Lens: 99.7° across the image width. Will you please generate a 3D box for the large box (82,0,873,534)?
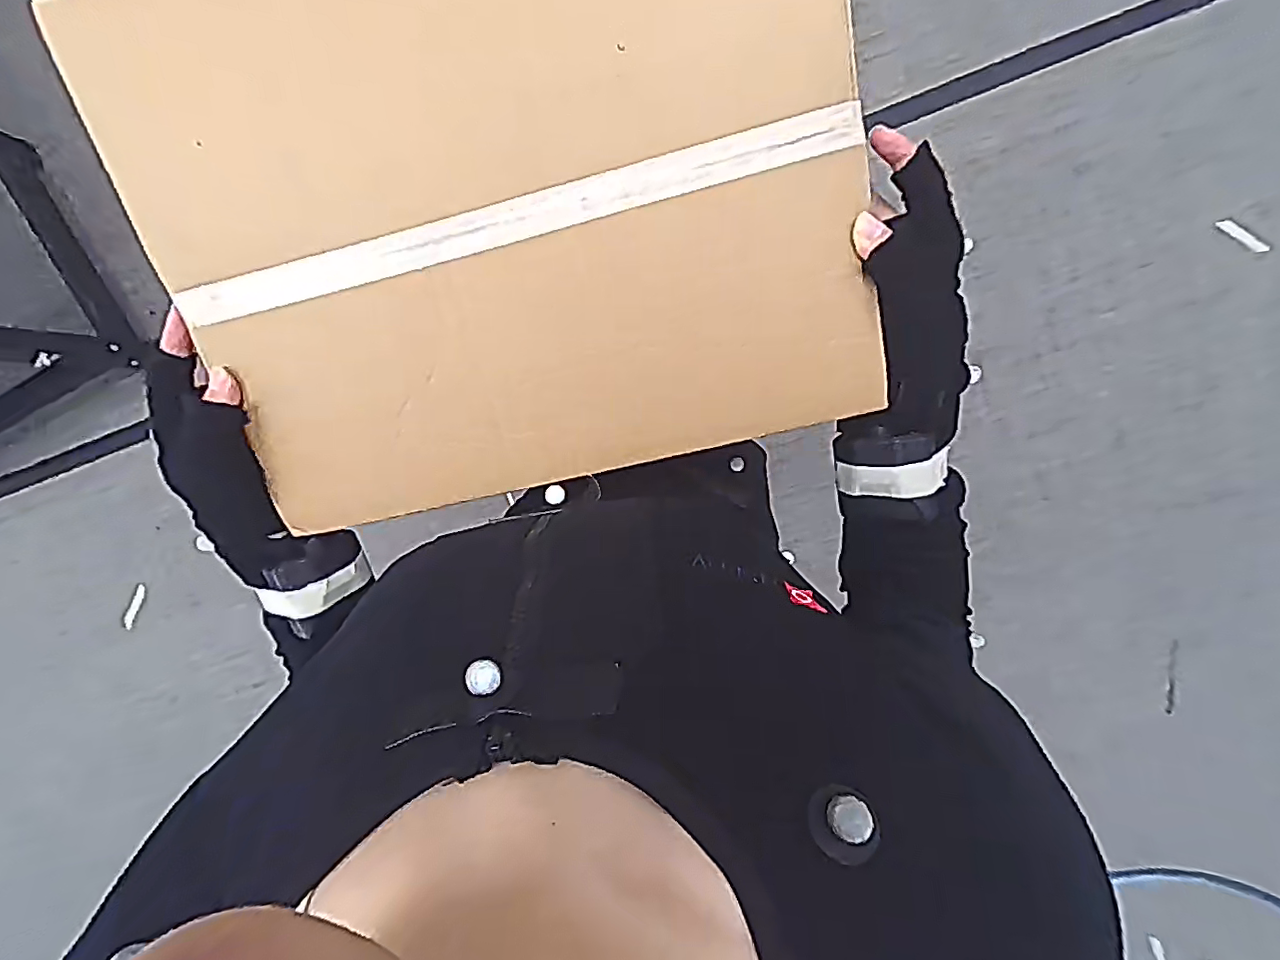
[{"bbox_3d":[-0.072,-0.194,0.459,0.408,0.320,0.320,-12,108,6],"label":"large box"}]
